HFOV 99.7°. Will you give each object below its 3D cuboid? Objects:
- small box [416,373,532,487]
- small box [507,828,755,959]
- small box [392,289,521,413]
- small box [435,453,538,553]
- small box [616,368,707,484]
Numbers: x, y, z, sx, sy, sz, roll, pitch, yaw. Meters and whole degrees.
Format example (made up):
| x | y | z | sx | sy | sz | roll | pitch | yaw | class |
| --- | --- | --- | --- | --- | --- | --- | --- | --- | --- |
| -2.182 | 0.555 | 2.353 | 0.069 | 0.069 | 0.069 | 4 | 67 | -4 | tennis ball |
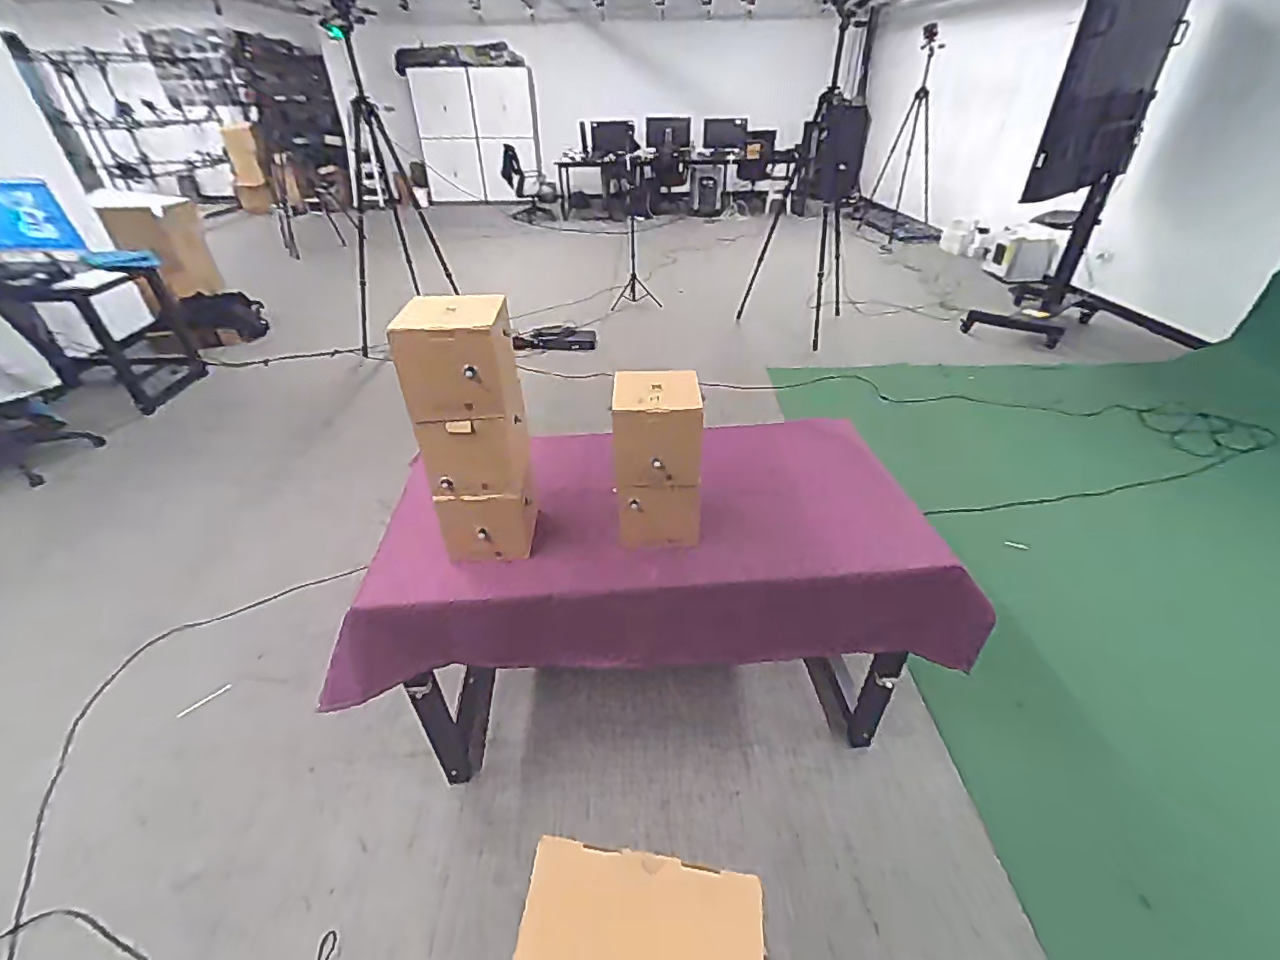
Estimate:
| x | y | z | sx | sy | sz | roll | pitch | yaw | class |
| --- | --- | --- | --- | --- | --- | --- | --- | --- | --- |
| -0.311 | -0.097 | 1.055 | 0.168 | 0.176 | 0.179 | 0 | 35 | -1 | small box |
| -0.020 | 0.388 | 0.397 | 0.168 | 0.176 | 0.179 | 13 | 45 | -3 | small box |
| -0.310 | -0.227 | 0.957 | 0.168 | 0.176 | 0.179 | -1 | 35 | -3 | small box |
| -0.314 | 0.041 | 1.146 | 0.168 | 0.176 | 0.179 | 0 | 37 | -2 | small box |
| 0.039 | -0.109 | 1.071 | 0.168 | 0.176 | 0.179 | 0 | 36 | 1 | small box |
